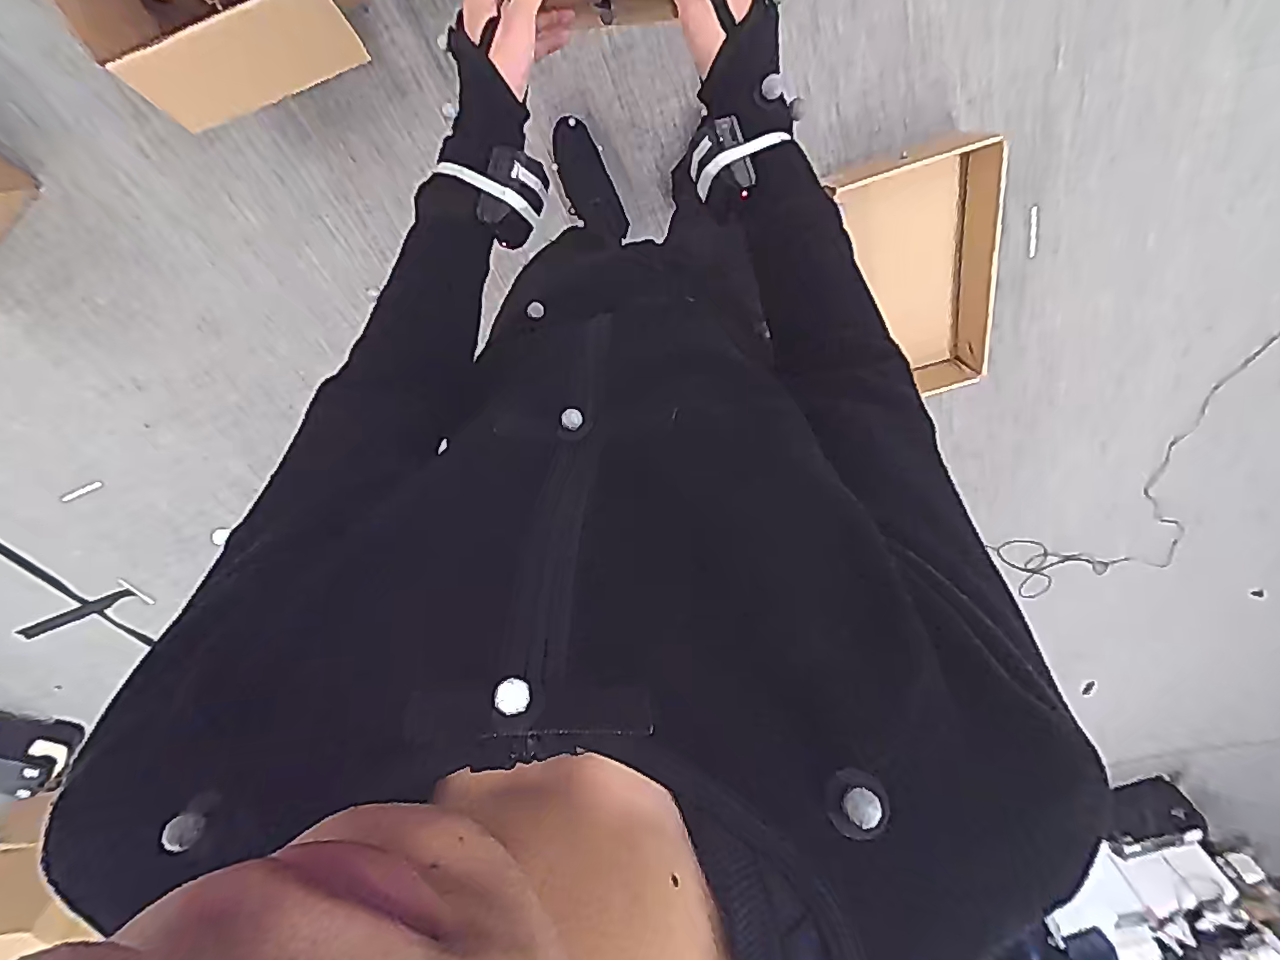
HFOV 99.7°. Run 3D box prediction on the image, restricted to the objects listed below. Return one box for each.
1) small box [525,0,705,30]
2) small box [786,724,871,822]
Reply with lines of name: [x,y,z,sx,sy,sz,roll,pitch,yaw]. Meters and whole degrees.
small box: [-0.024,-0.496,0.447,0.179,0.176,0.168,-3,123,3]
small box: [0.504,0.781,1.456,0.168,0.176,0.179,-17,125,7]
